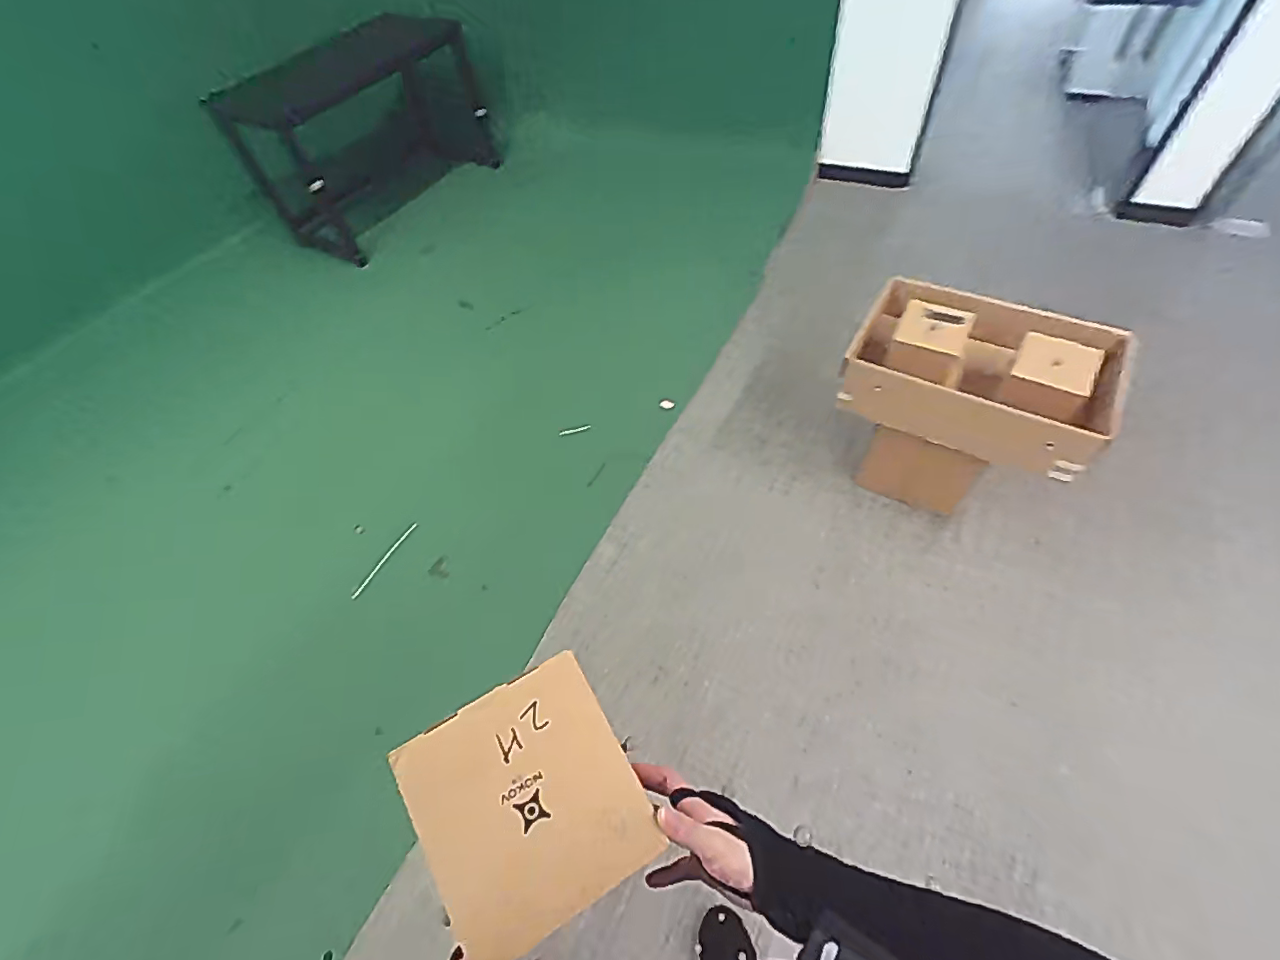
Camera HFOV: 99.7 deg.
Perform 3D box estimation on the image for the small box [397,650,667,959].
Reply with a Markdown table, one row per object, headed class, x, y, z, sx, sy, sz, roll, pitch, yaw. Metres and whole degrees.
| class | x | y | z | sx | sy | sz | roll | pitch | yaw |
| --- | --- | --- | --- | --- | --- | --- | --- | --- | --- |
| small box | -0.093 | 0.283 | 0.505 | 0.168 | 0.176 | 0.179 | -25 | 70 | -15 |
